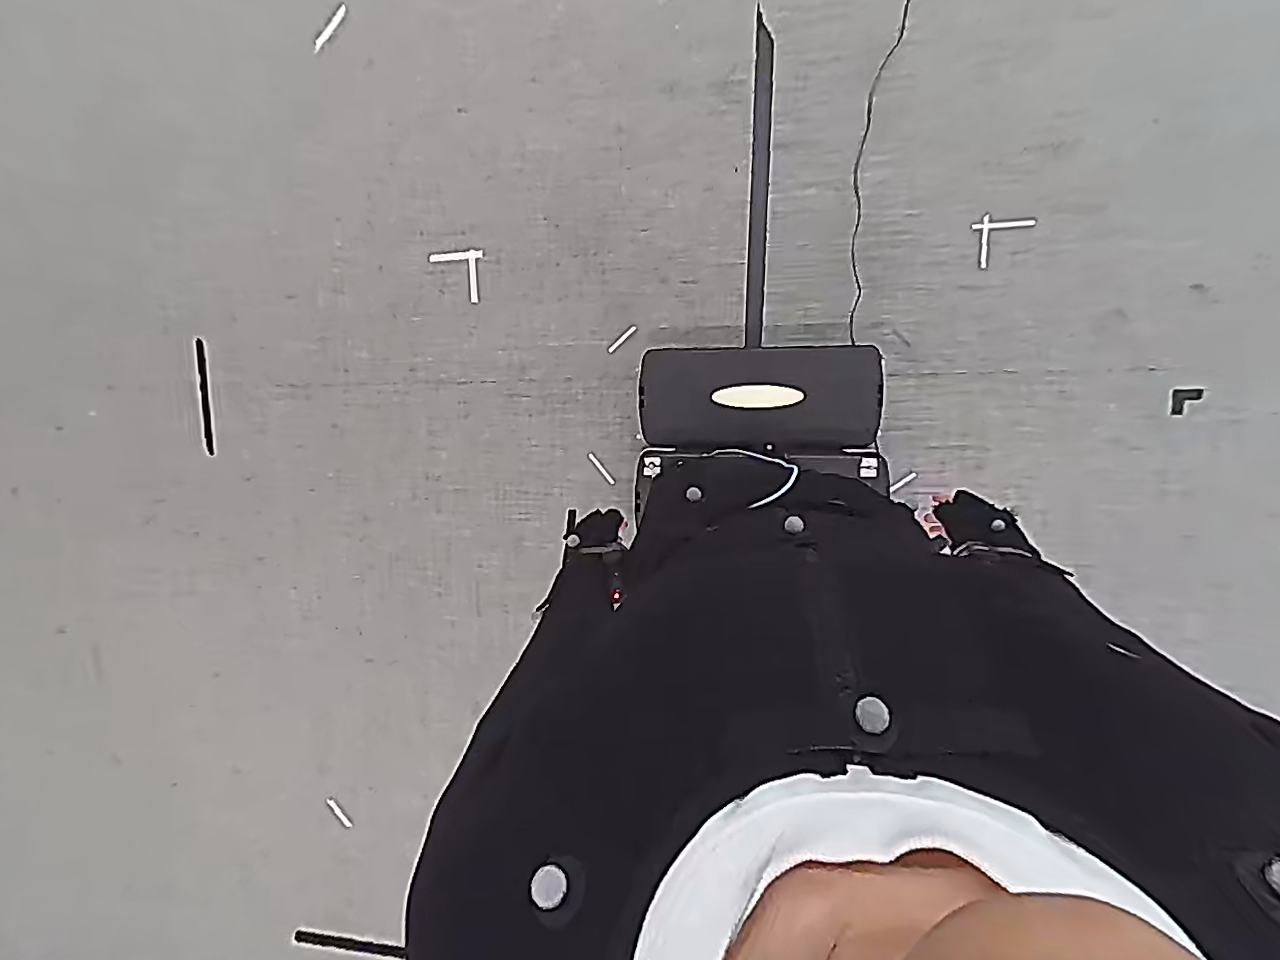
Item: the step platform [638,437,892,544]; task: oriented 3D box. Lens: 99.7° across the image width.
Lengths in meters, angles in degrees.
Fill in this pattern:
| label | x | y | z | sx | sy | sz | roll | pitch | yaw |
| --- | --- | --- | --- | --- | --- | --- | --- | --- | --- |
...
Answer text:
| label | x | y | z | sx | sy | sz | roll | pitch | yaw |
| --- | --- | --- | --- | --- | --- | --- | --- | --- | --- |
| step platform | 0.335 | 0.026 | 1.522 | 0.684 | 0.204 | 0.286 | 0 | 95 | 9 |
